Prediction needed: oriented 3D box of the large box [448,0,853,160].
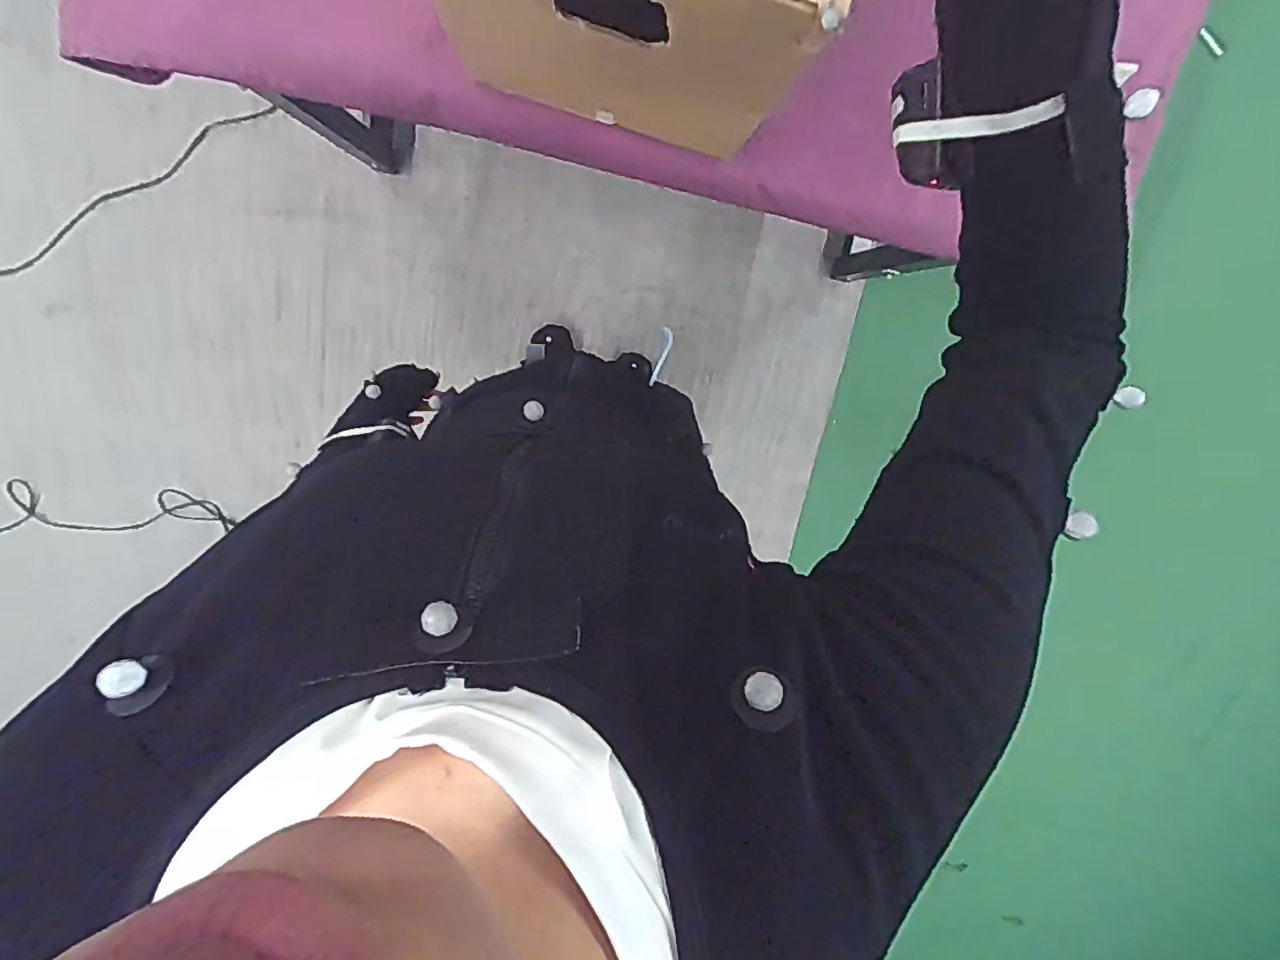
[{"bbox_3d":[0.026,-0.564,0.448,0.320,0.320,0.408,13,105,-8],"label":"large box"}]
